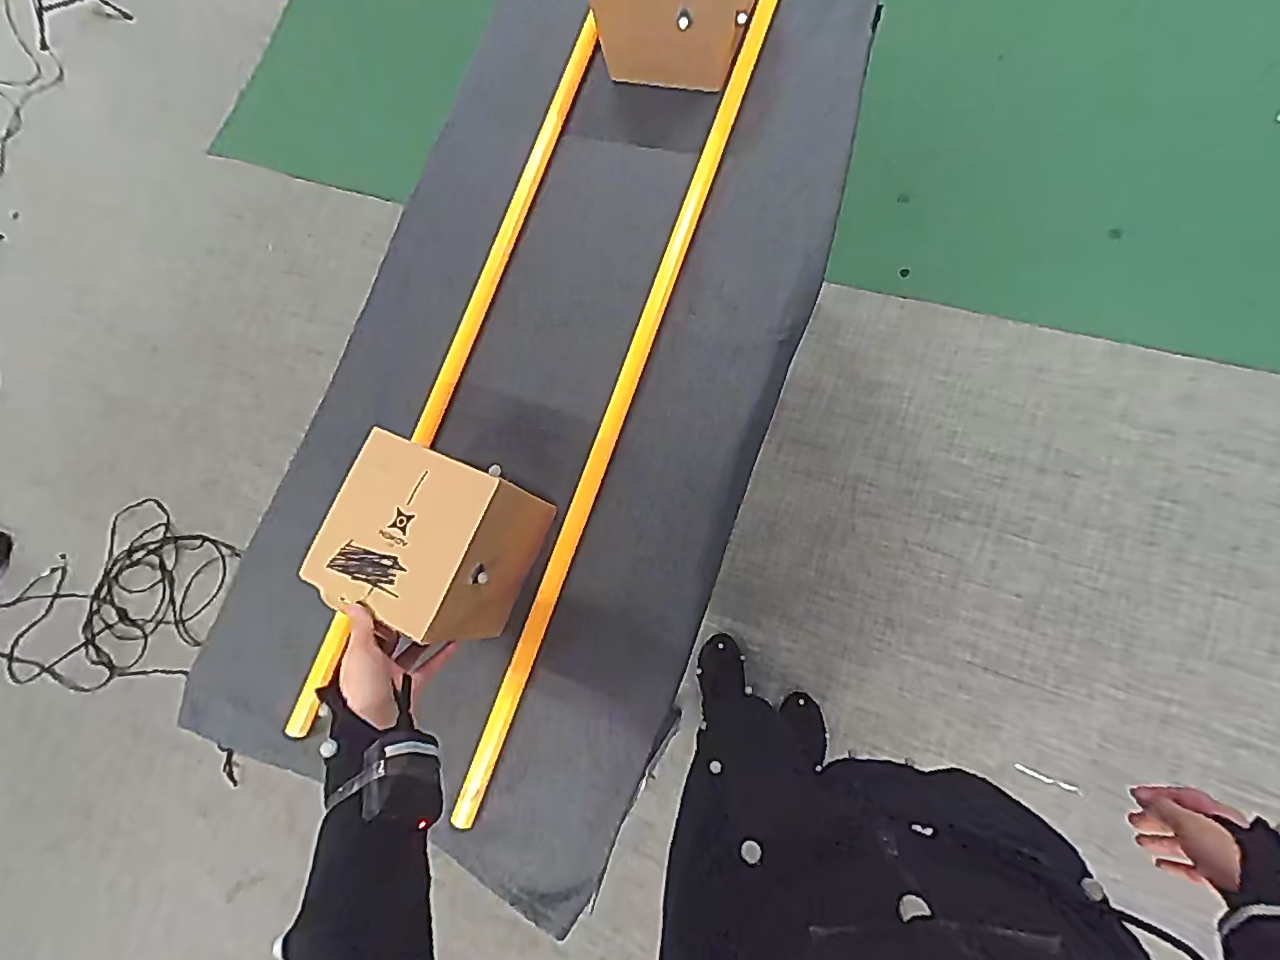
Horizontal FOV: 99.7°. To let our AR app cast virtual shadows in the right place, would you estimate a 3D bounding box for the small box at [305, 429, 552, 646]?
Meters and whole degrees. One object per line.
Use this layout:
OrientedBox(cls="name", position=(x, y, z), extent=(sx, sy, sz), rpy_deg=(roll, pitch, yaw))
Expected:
OrientedBox(cls="small box", position=(-0.223, 0.070, 0.620), extent=(0.168, 0.176, 0.179), rpy_deg=(22, 82, 15))
